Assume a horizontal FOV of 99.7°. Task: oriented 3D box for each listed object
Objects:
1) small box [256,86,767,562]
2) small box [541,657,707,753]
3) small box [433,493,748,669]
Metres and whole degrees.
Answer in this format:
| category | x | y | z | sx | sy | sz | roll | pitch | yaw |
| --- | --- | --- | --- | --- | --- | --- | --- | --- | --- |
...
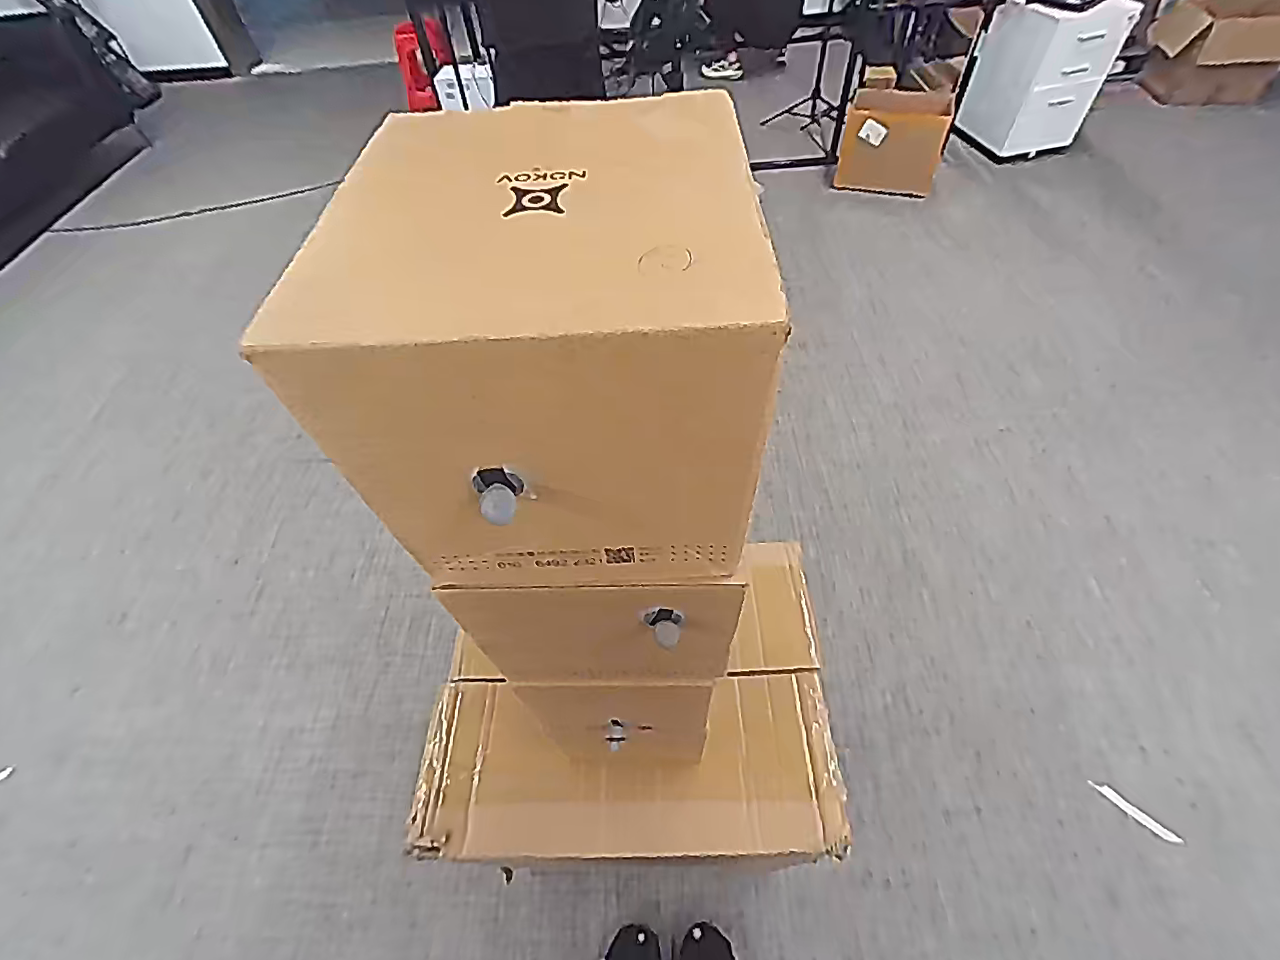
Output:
| category | x | y | z | sx | sy | sz | roll | pitch | yaw |
| --- | --- | --- | --- | --- | --- | --- | --- | --- | --- |
| small box | -0.036 | -0.067 | 0.278 | 0.168 | 0.176 | 0.179 | -3 | 53 | 2 |
| small box | -0.010 | 0.232 | 0.667 | 0.179 | 0.176 | 0.168 | -1 | 53 | 3 |
| small box | -0.023 | 0.034 | 0.405 | 0.179 | 0.176 | 0.168 | -2 | 53 | 3 |
